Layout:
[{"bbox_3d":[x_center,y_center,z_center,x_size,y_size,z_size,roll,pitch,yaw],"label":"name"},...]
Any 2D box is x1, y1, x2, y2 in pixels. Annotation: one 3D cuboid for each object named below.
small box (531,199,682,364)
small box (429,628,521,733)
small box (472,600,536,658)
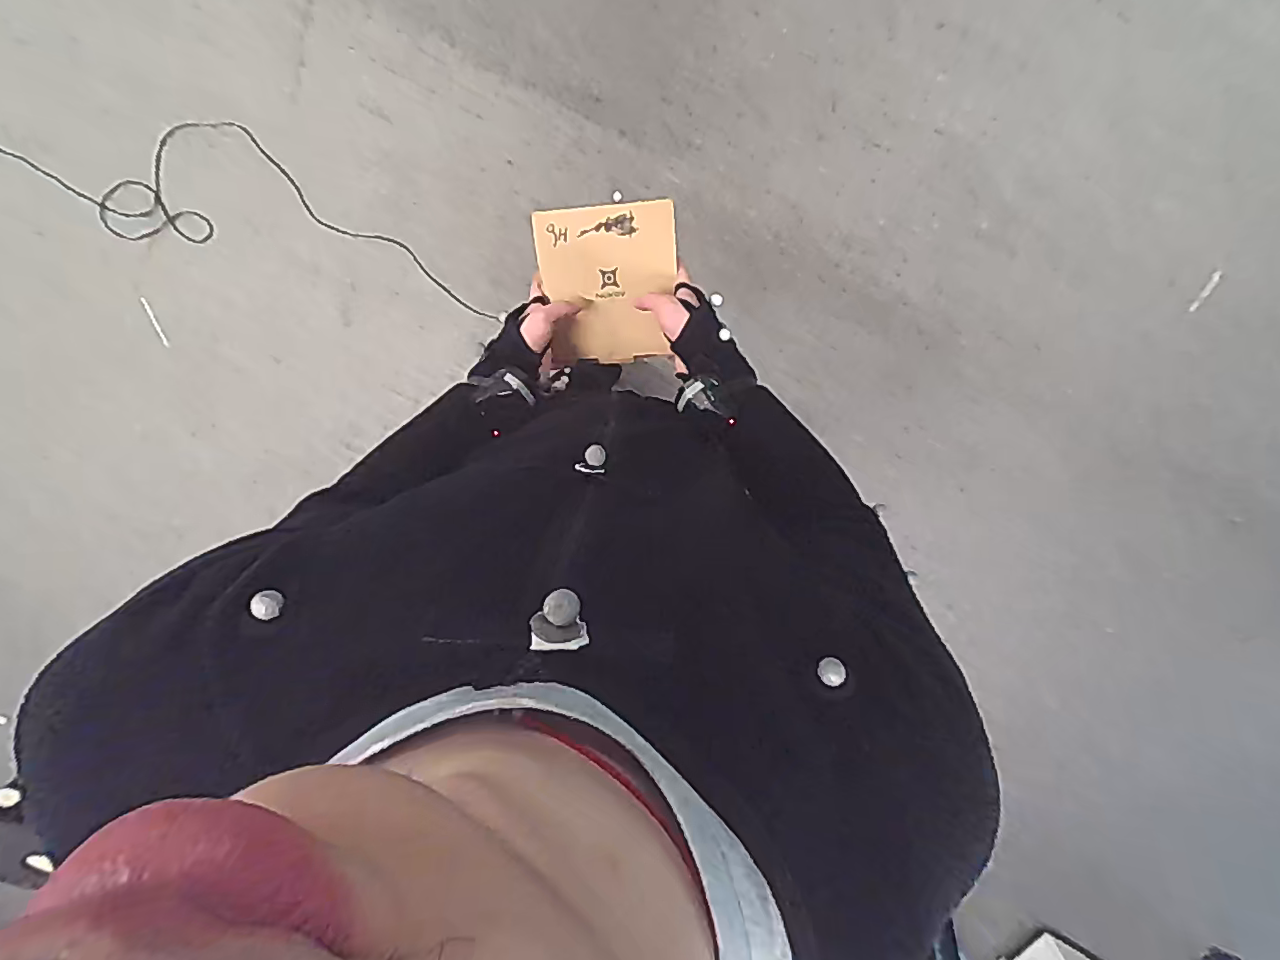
[{"bbox_3d":[-0.031,-0.262,0.708,0.168,0.176,0.179,-4,115,5],"label":"small box"},{"bbox_3d":[-0.440,0.538,1.476,0.168,0.176,0.179,25,105,-2],"label":"small box"},{"bbox_3d":[-0.431,0.499,1.633,0.168,0.176,0.179,26,104,-4],"label":"small box"}]
